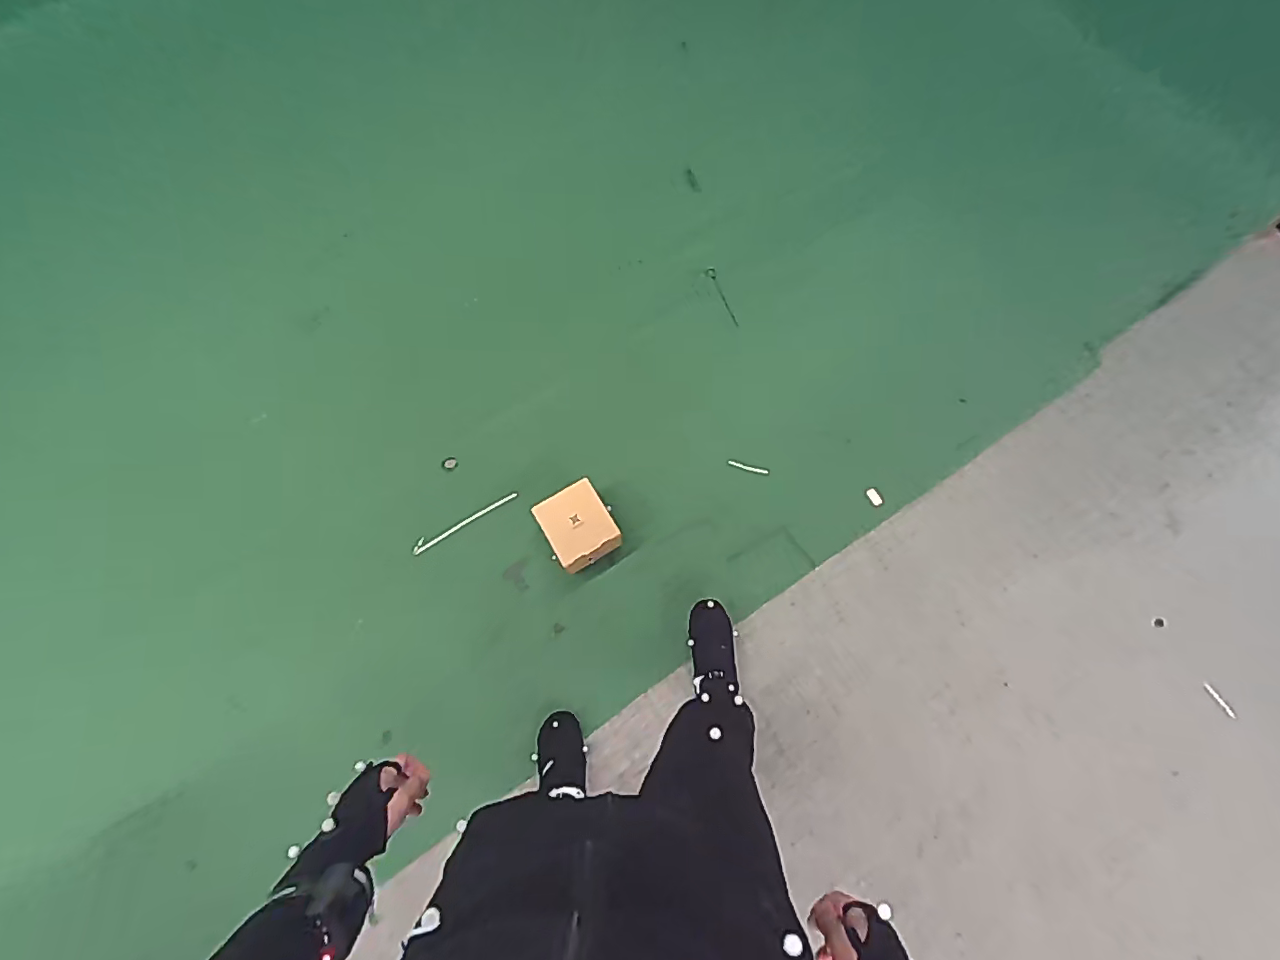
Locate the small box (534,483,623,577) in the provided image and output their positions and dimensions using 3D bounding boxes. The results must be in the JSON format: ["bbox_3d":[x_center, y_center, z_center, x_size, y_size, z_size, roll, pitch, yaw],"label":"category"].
[{"bbox_3d":[-0.160,0.138,1.432,0.168,0.176,0.179,-31,78,-11],"label":"small box"}]
